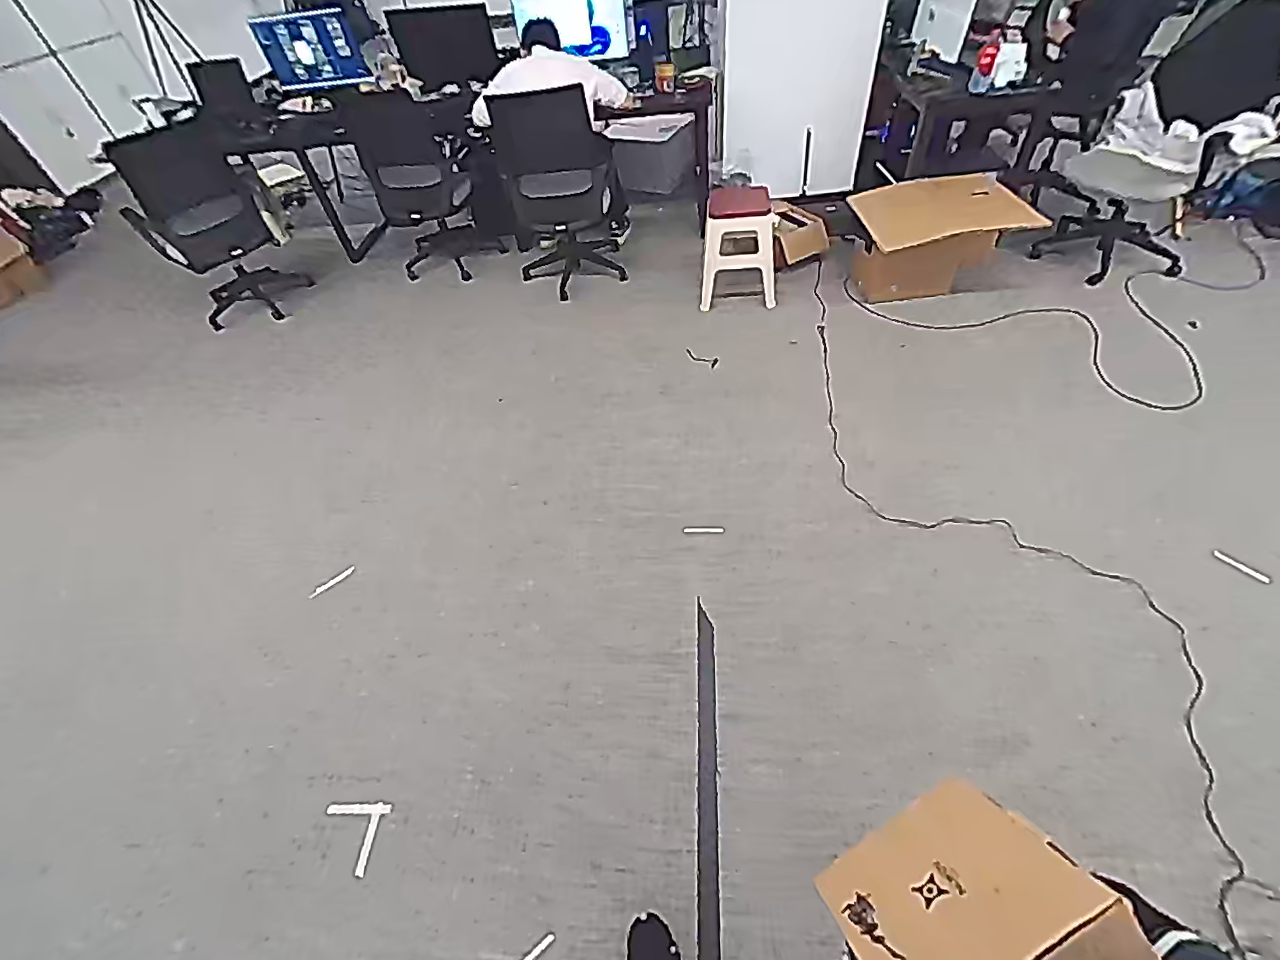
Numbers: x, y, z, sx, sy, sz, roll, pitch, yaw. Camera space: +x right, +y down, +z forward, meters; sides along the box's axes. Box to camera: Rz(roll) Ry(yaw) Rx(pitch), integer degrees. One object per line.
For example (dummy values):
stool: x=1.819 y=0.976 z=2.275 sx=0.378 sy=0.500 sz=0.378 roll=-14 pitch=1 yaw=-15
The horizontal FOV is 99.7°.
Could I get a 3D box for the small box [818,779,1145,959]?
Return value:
small box: x=0.290 y=0.405 z=0.448 sx=0.179 sy=0.168 sz=0.176 roll=-31 pitch=90 yaw=-5
